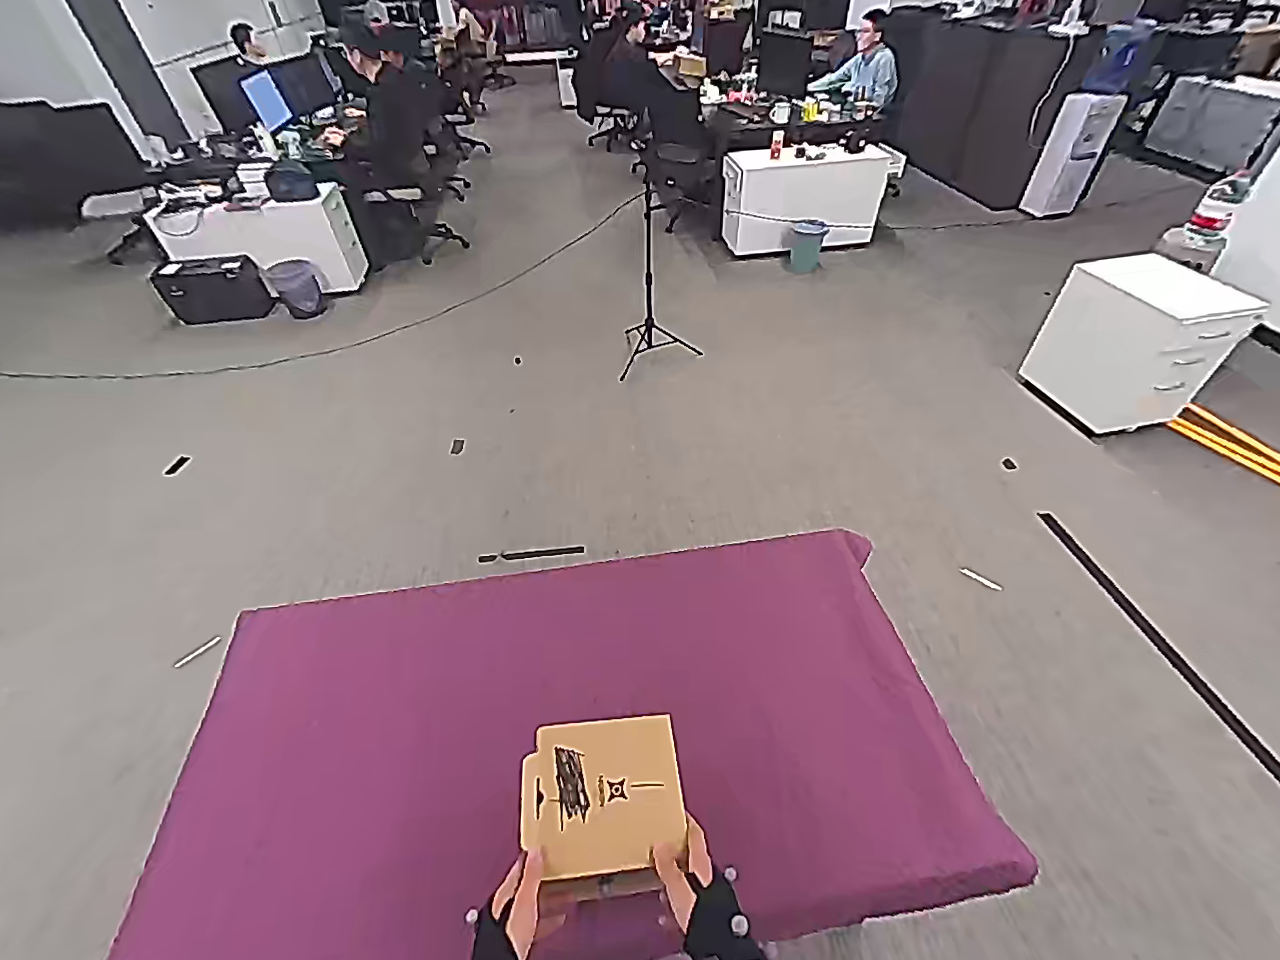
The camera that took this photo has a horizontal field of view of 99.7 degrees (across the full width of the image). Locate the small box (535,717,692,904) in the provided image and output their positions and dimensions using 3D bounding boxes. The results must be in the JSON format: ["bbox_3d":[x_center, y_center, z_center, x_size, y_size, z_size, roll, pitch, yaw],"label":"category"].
[{"bbox_3d":[-0.042,0.430,0.703,0.179,0.176,0.168,-1,46,-9],"label":"small box"}]
